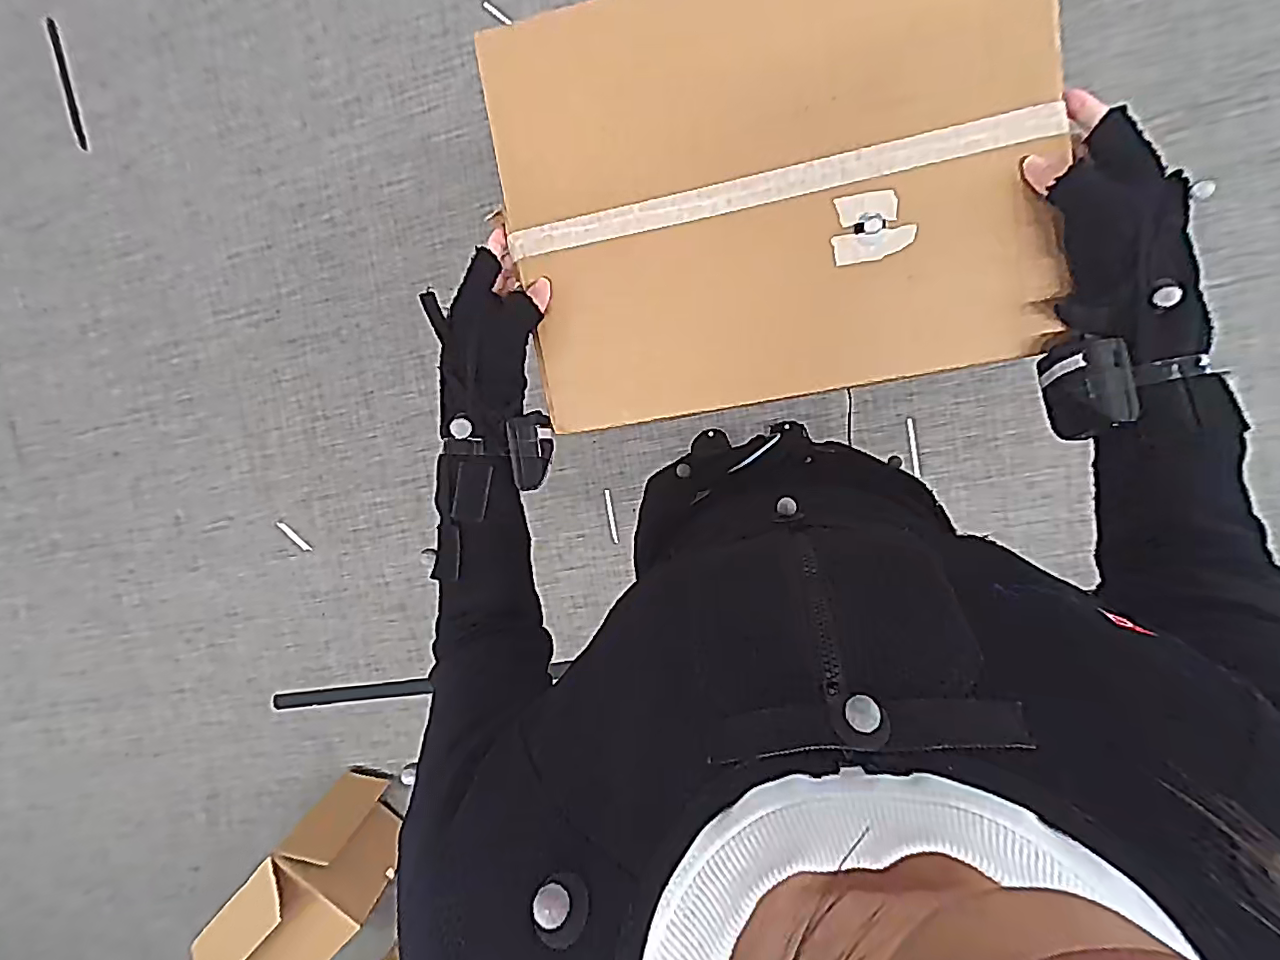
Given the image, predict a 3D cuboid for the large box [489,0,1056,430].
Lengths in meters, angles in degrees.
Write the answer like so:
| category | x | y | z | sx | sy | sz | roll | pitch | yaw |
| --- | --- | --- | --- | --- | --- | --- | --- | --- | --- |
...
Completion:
| category | x | y | z | sx | sy | sz | roll | pitch | yaw |
| --- | --- | --- | --- | --- | --- | --- | --- | --- | --- |
| large box | 0.114 | -0.246 | 0.567 | 0.408 | 0.320 | 0.320 | -9 | 98 | 8 |
